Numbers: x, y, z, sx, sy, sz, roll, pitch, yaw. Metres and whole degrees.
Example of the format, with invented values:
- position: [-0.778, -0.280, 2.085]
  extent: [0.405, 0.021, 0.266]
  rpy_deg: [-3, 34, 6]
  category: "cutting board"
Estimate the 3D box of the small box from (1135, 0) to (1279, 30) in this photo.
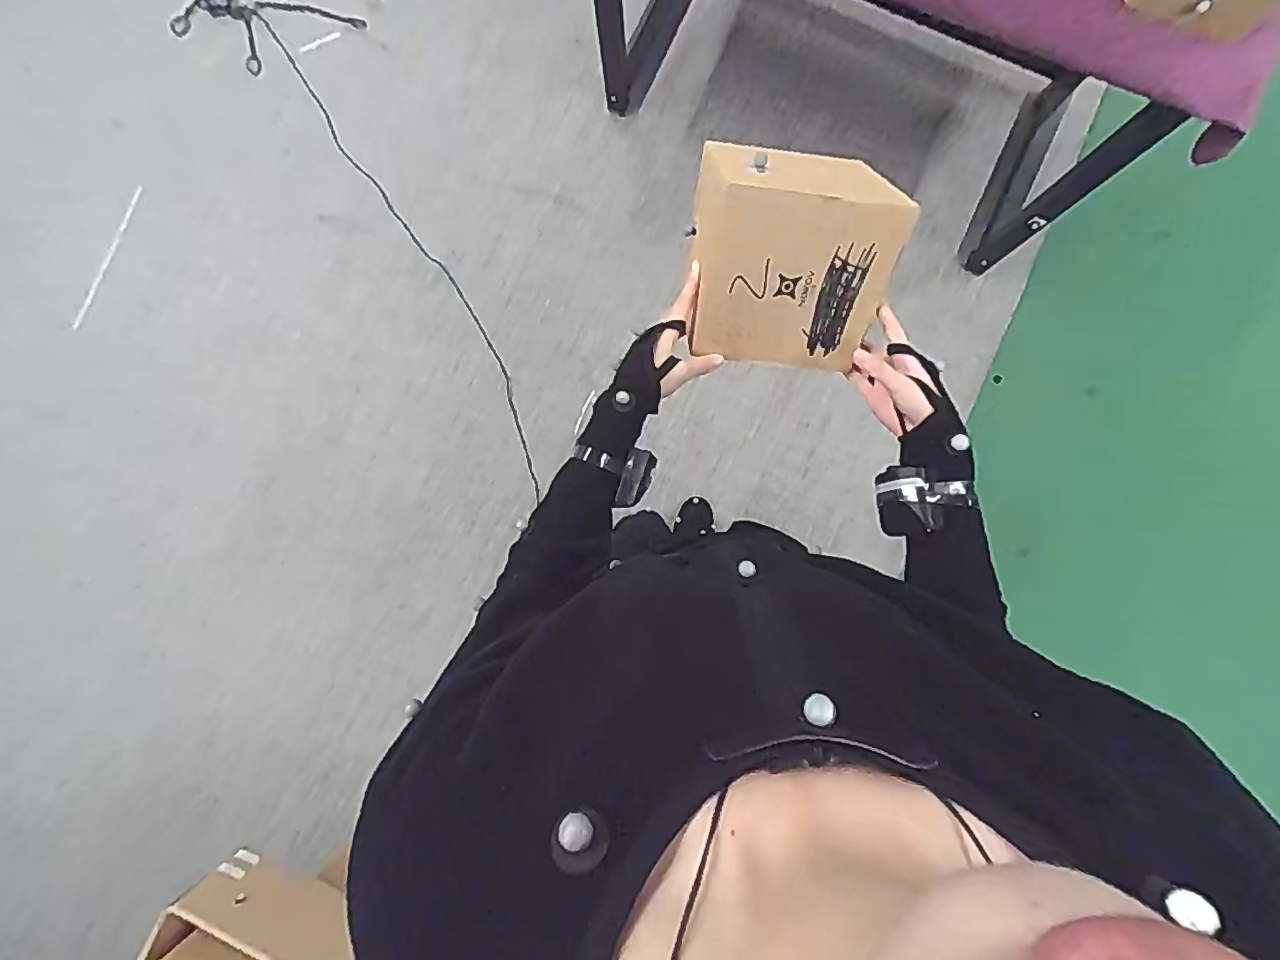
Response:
- position: [0.833, -0.760, 0.722]
  extent: [0.179, 0.176, 0.168]
  rpy_deg: [22, 88, 4]
  category: "small box"
